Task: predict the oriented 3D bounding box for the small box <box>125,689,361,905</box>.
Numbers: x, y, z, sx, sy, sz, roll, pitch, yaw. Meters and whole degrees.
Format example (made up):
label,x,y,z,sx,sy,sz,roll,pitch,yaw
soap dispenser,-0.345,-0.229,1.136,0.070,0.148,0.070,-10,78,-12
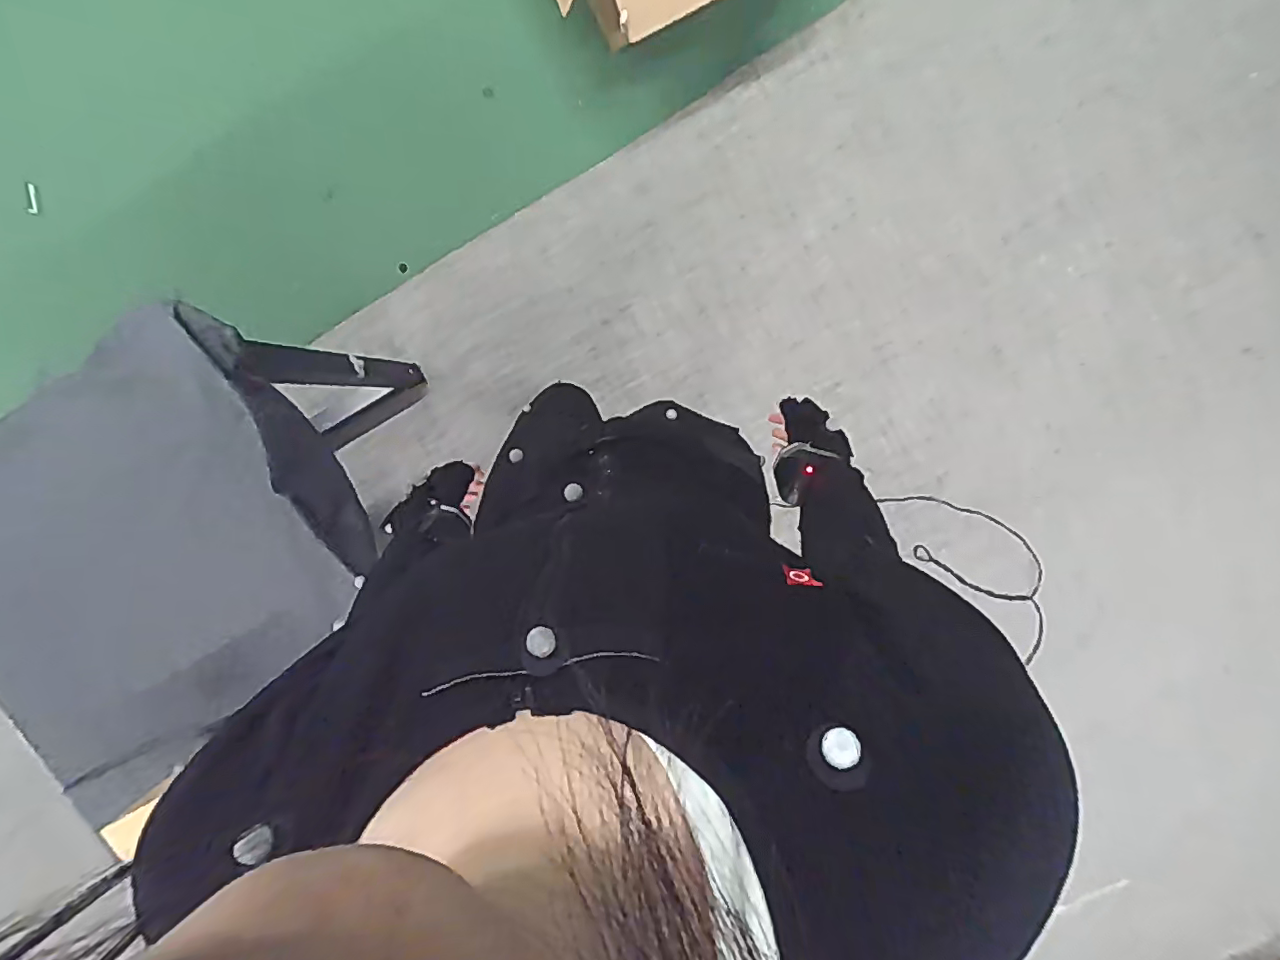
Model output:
label,x,y,z,sx,sy,sz,roll,pitch,yaw
small box,-0.551,0.440,0.776,0.179,0.176,0.168,-30,96,6
